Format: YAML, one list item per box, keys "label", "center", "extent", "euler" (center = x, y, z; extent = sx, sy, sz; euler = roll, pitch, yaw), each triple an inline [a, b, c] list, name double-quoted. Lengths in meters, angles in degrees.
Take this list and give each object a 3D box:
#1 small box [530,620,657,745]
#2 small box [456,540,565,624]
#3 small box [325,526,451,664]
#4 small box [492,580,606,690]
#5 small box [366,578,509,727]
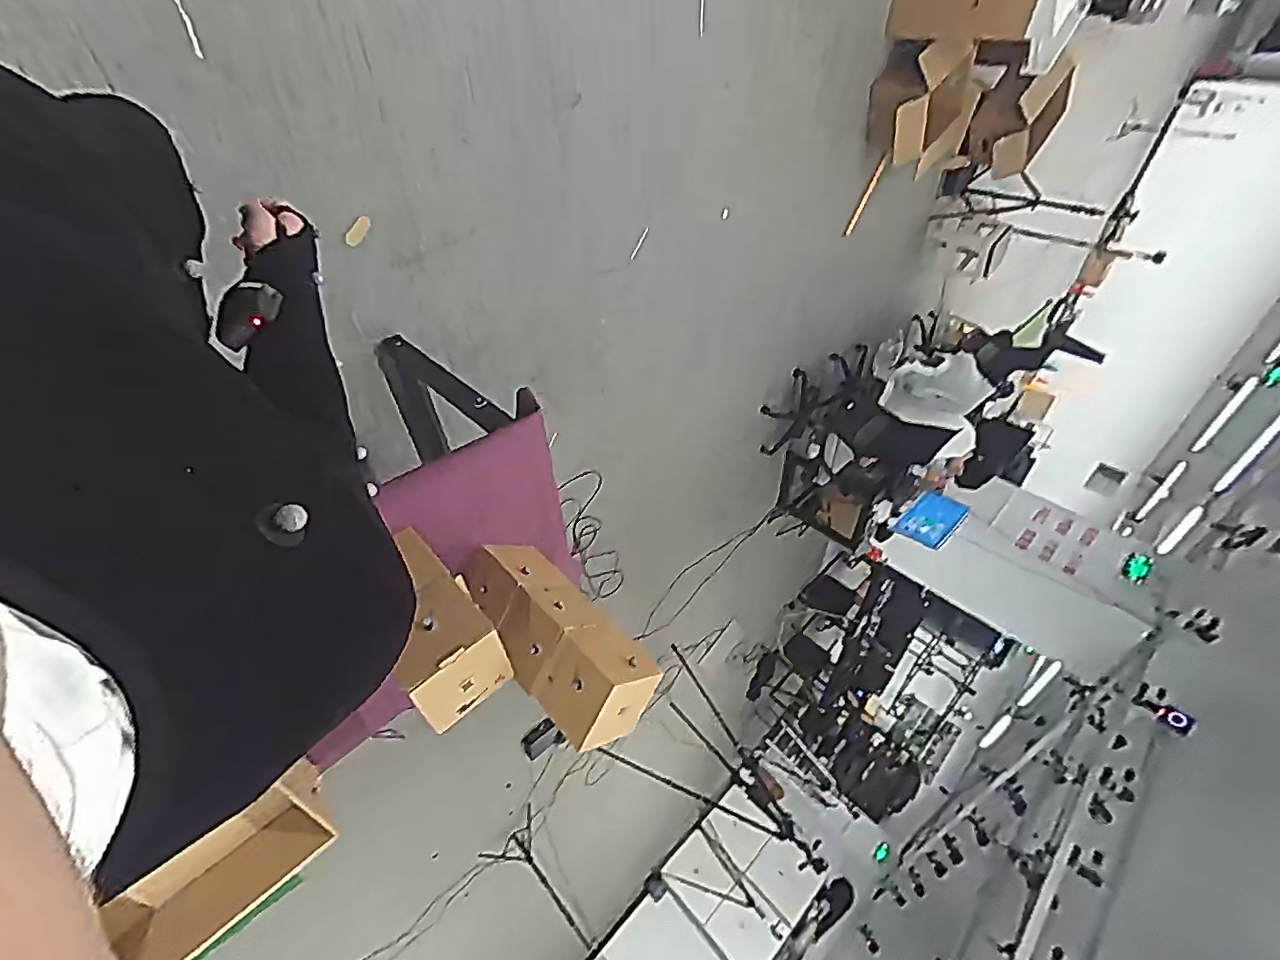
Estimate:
- label: "small box"
  center: [-0.102, 0.418, 1.147]
  extent: [0.179, 0.176, 0.168]
  euler: [12, 108, -54]
- label: "small box"
  center: [-0.325, 0.260, 1.322]
  extent: [0.179, 0.176, 0.168]
  euler: [14, 107, -55]
- label: "small box"
  center: [-0.487, 0.225, 1.084]
  extent: [0.179, 0.176, 0.168]
  euler: [-35, 143, -28]
- label: "small box"
  center: [-0.217, 0.342, 1.233]
  extent: [0.168, 0.176, 0.179]
  euler: [15, 106, -54]
- label: "small box"
  center: [-0.372, 0.307, 1.000]
  extent: [0.168, 0.176, 0.179]
  euler: [-34, 142, -29]
